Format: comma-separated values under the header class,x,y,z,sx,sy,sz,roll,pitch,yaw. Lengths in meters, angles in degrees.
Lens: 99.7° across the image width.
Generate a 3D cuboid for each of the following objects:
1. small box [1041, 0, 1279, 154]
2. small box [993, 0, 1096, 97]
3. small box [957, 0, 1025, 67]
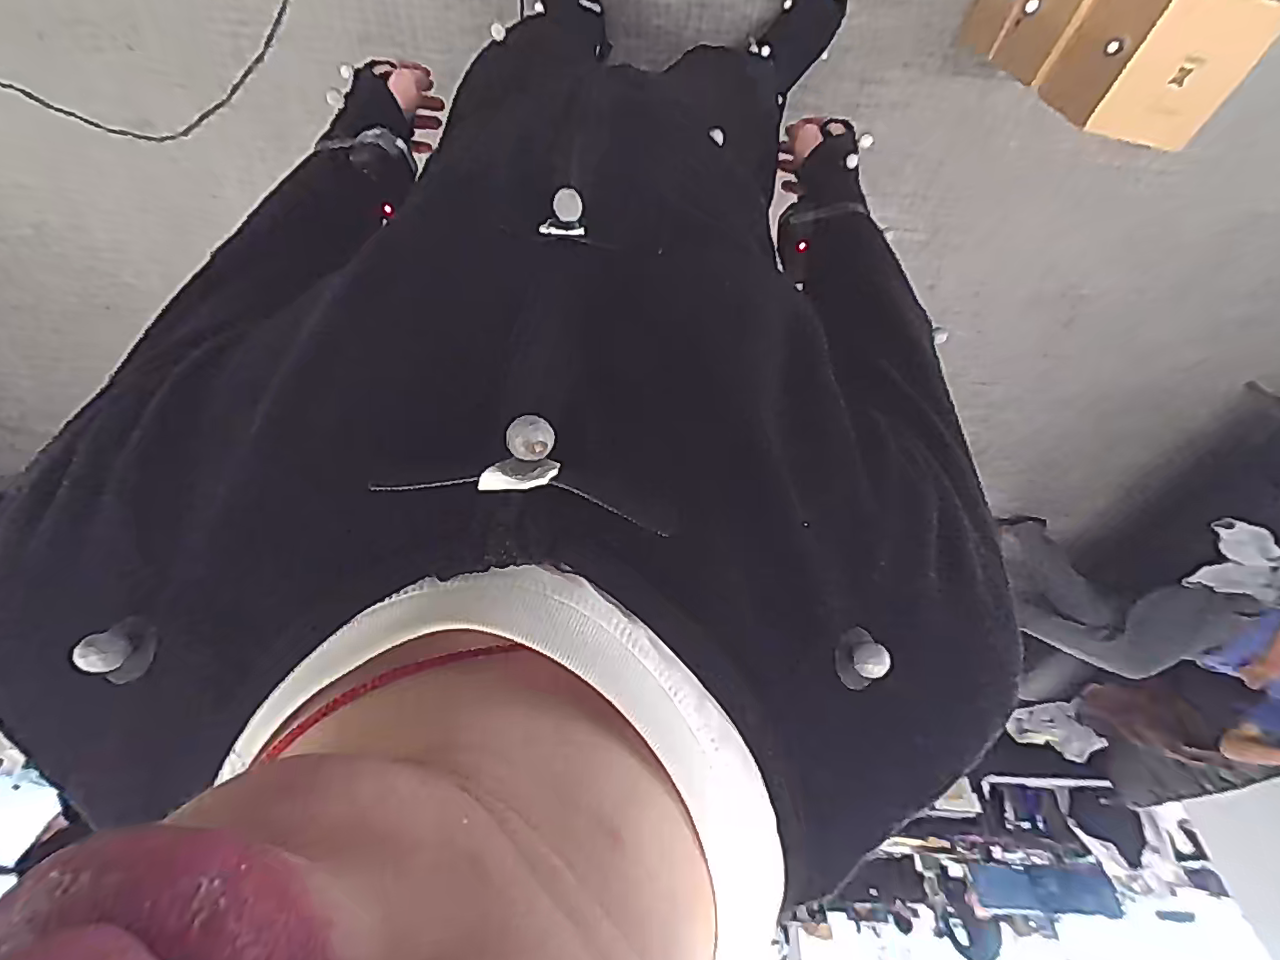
class,x,y,z,sx,sy,sz,roll,pitch,yaw
small box,0.751,-0.623,0.799,0.168,0.176,0.179,8,141,-6
small box,0.745,-0.747,0.903,0.179,0.176,0.168,9,140,-8
small box,0.740,-0.876,1.005,0.179,0.176,0.168,7,140,-7
